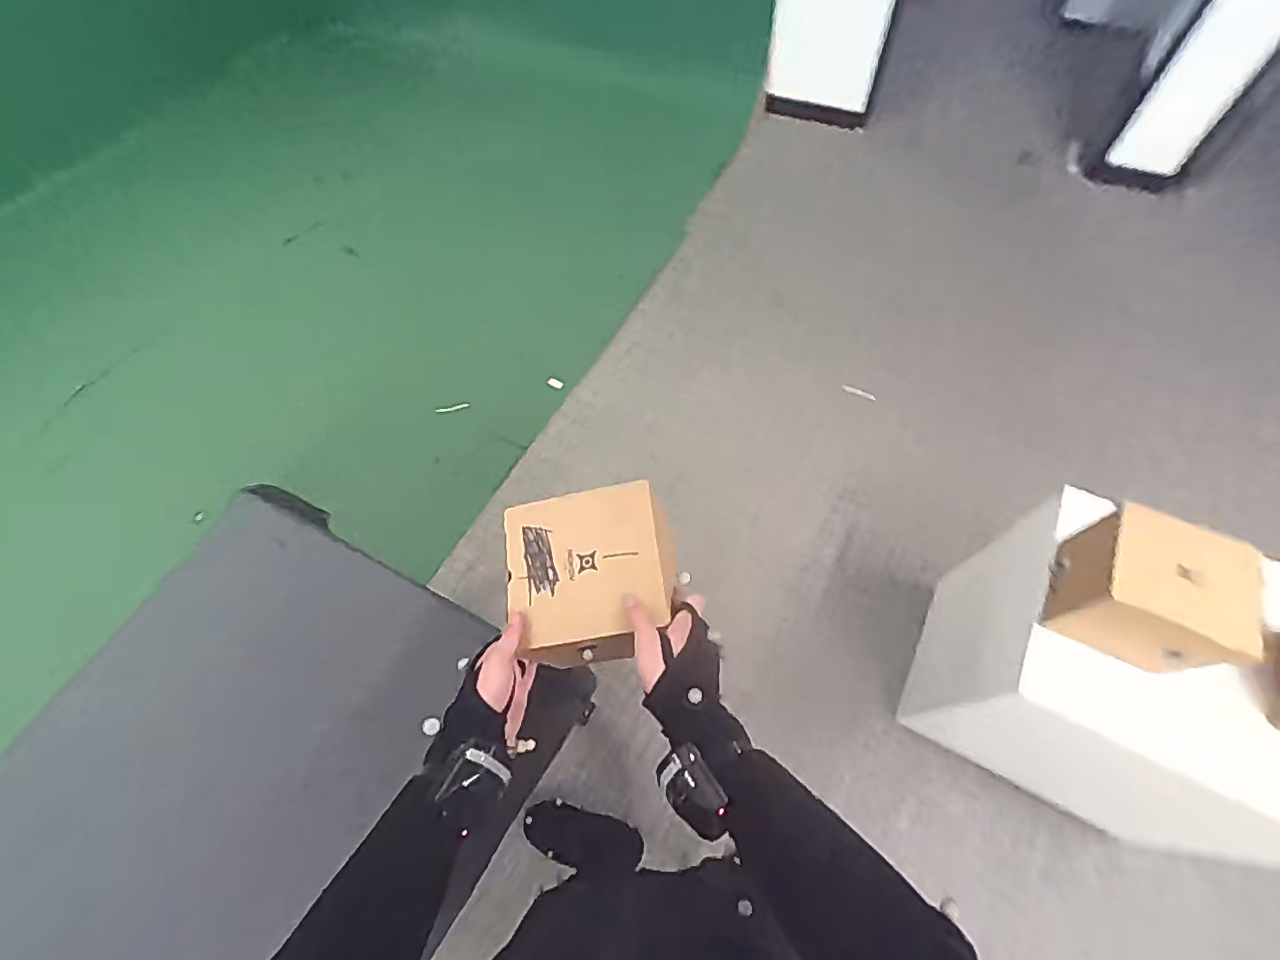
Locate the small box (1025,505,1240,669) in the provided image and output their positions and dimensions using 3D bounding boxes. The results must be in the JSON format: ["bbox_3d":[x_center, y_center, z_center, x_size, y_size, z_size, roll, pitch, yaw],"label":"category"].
[{"bbox_3d":[0.738,0.170,0.824,0.179,0.176,0.168,23,63,13],"label":"small box"}]

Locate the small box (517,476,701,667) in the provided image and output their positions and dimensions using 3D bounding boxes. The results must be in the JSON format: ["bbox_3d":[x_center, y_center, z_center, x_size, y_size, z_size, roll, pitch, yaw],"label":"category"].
[{"bbox_3d":[-0.031,0.116,0.635,0.179,0.176,0.168,-10,63,5],"label":"small box"}]

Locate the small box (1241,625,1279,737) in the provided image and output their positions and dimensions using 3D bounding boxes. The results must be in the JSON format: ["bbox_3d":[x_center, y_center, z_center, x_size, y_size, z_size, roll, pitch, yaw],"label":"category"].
[{"bbox_3d":[1.013,0.297,0.746,0.179,0.176,0.168,26,65,15],"label":"small box"}]
